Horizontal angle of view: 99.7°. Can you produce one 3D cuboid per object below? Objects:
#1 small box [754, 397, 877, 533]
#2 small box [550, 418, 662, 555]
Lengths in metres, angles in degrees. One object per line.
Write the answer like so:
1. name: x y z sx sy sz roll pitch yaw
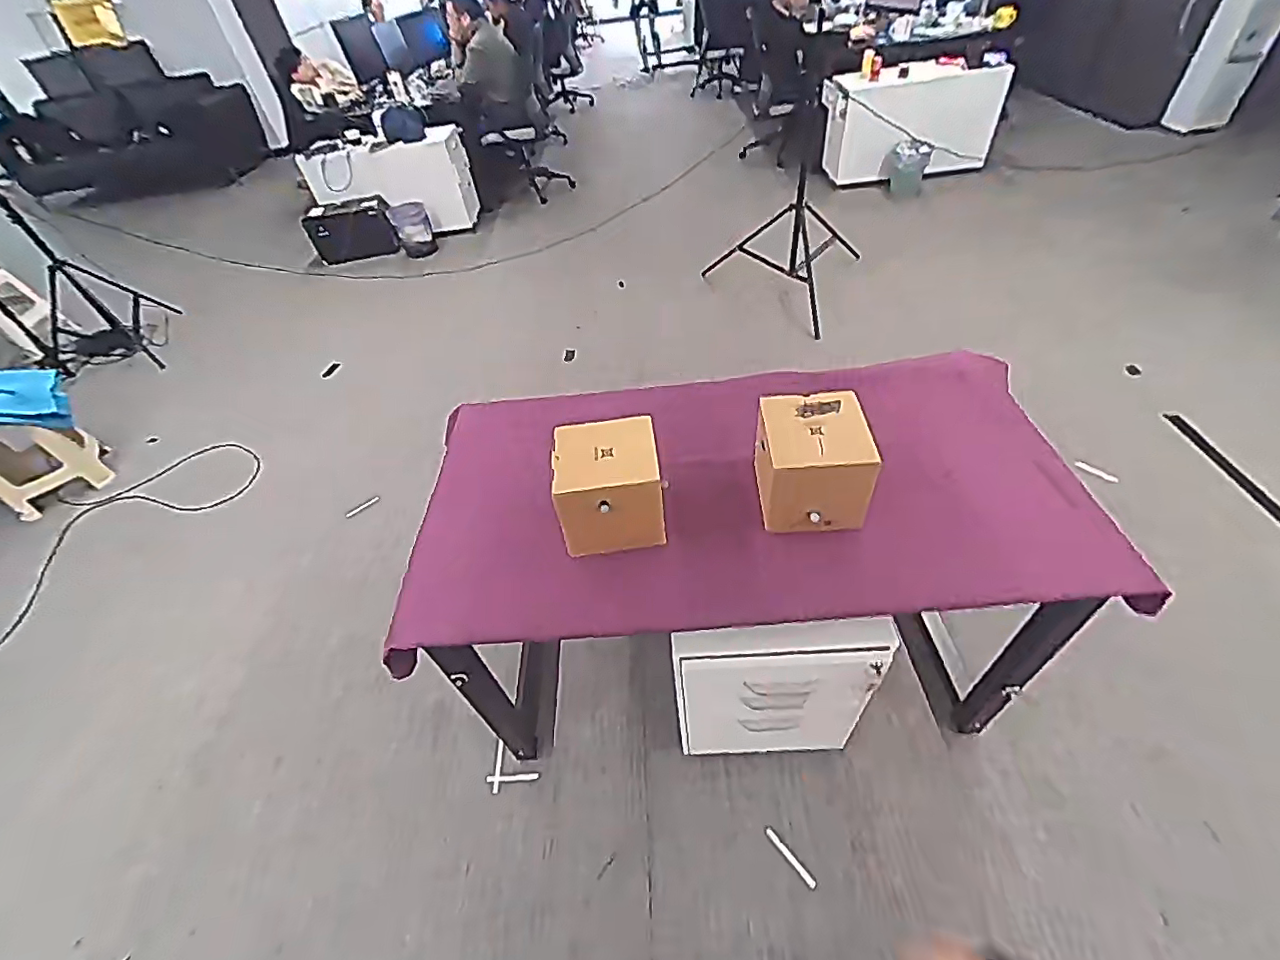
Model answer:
1. small box: 0.295 -0.025 0.953 0.168 0.176 0.179 -3 47 5
2. small box: -0.054 0.015 0.965 0.179 0.176 0.168 -8 45 1
